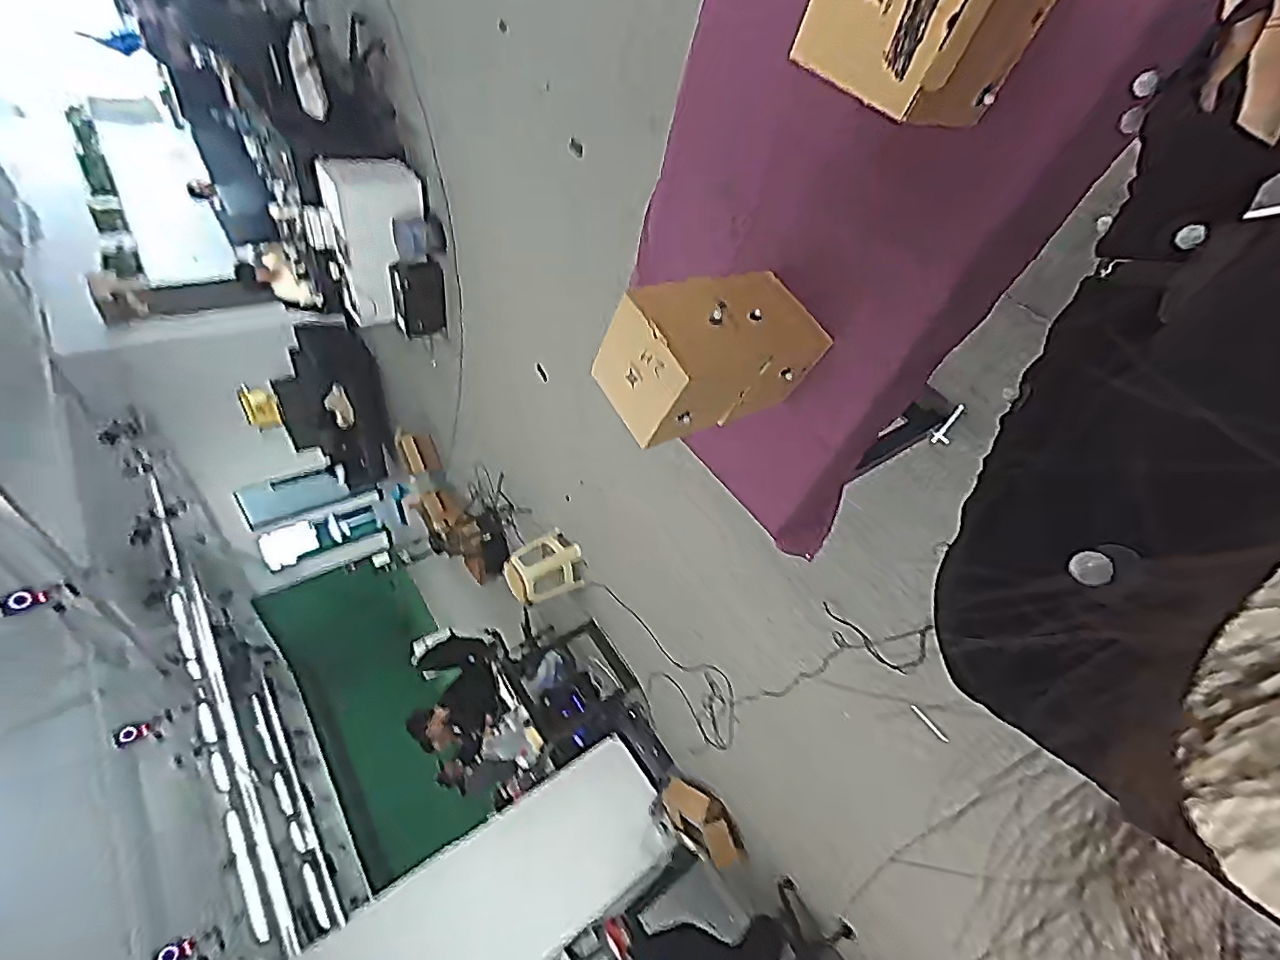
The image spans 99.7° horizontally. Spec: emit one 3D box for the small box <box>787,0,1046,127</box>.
[{"bbox_3d":[0.302,-0.505,0.577,0.179,0.176,0.168,52,145,25],"label":"small box"}]

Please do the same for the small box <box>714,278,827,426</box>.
[{"bbox_3d":[0.181,-0.225,0.928,0.179,0.176,0.168,57,145,17],"label":"small box"}]

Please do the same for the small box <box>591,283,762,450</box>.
[{"bbox_3d":[0.054,-0.177,0.836,0.168,0.176,0.179,56,145,16],"label":"small box"}]
